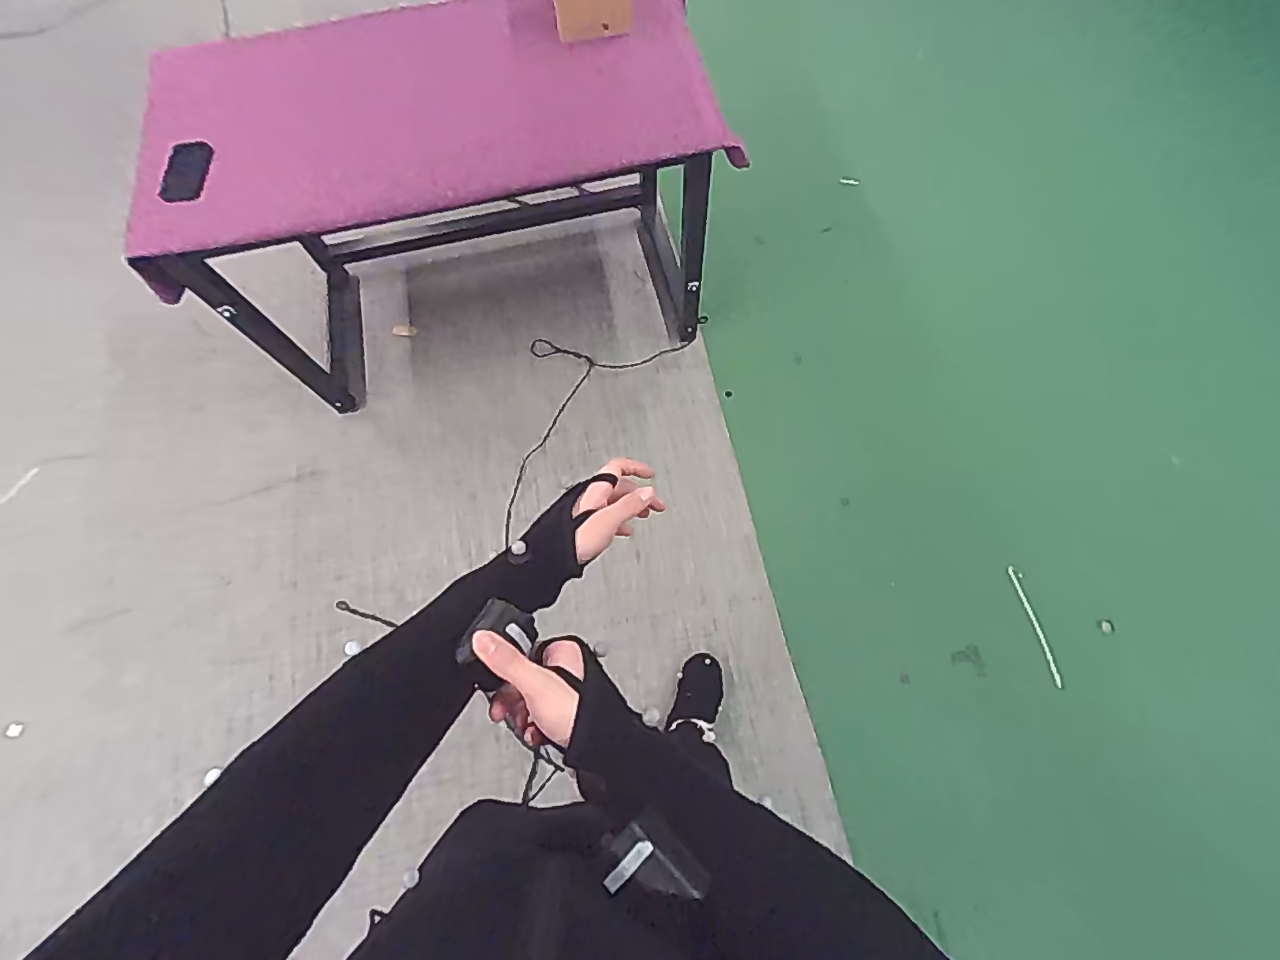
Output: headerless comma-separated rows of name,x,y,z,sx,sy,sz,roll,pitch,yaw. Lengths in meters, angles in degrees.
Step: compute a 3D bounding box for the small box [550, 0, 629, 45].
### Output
small box,-0.120,-1.097,1.175,0.168,0.176,0.179,-10,69,-1
